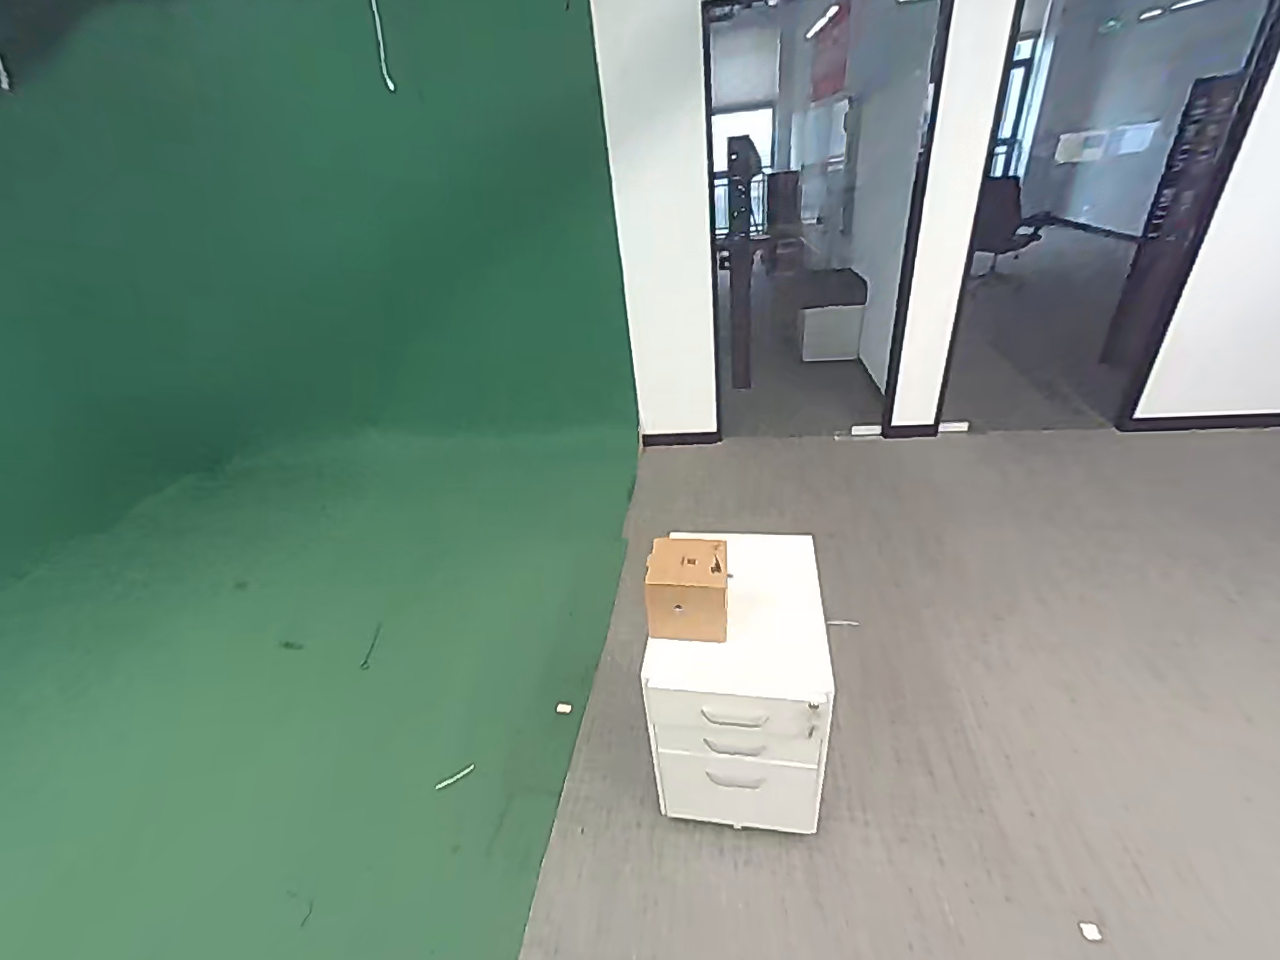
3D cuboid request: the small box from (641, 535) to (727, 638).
[{"bbox_3d":[0.107,0.243,1.240,0.179,0.176,0.168,0,32,11],"label":"small box"}]
